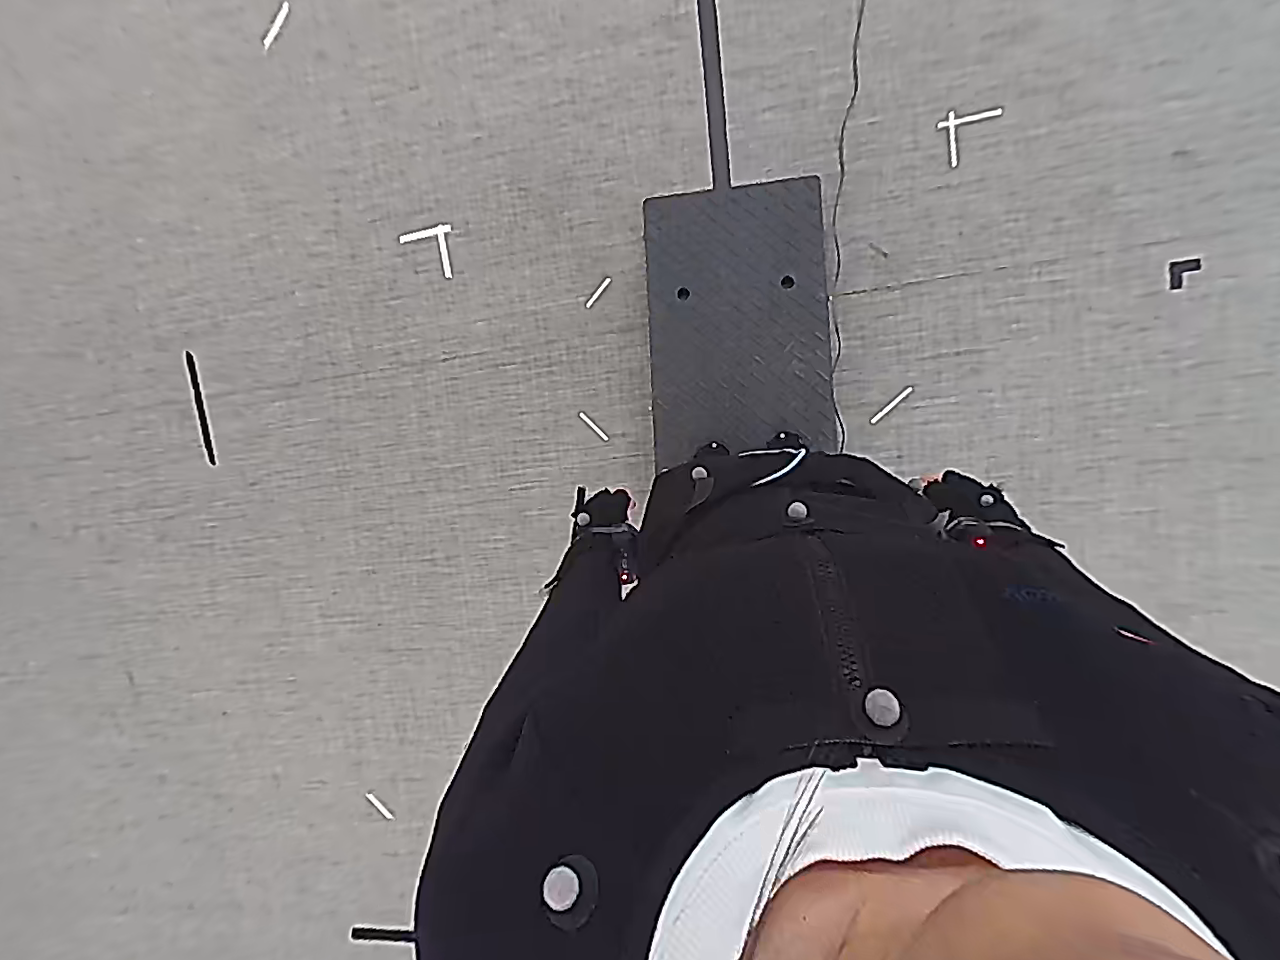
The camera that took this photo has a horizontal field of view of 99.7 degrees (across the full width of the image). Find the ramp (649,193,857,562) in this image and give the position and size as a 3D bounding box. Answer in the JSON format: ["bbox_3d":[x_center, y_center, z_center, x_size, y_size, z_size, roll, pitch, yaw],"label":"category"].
[{"bbox_3d":[0.292,-0.286,1.498,0.509,0.206,0.991,-6,94,12],"label":"ramp"}]
